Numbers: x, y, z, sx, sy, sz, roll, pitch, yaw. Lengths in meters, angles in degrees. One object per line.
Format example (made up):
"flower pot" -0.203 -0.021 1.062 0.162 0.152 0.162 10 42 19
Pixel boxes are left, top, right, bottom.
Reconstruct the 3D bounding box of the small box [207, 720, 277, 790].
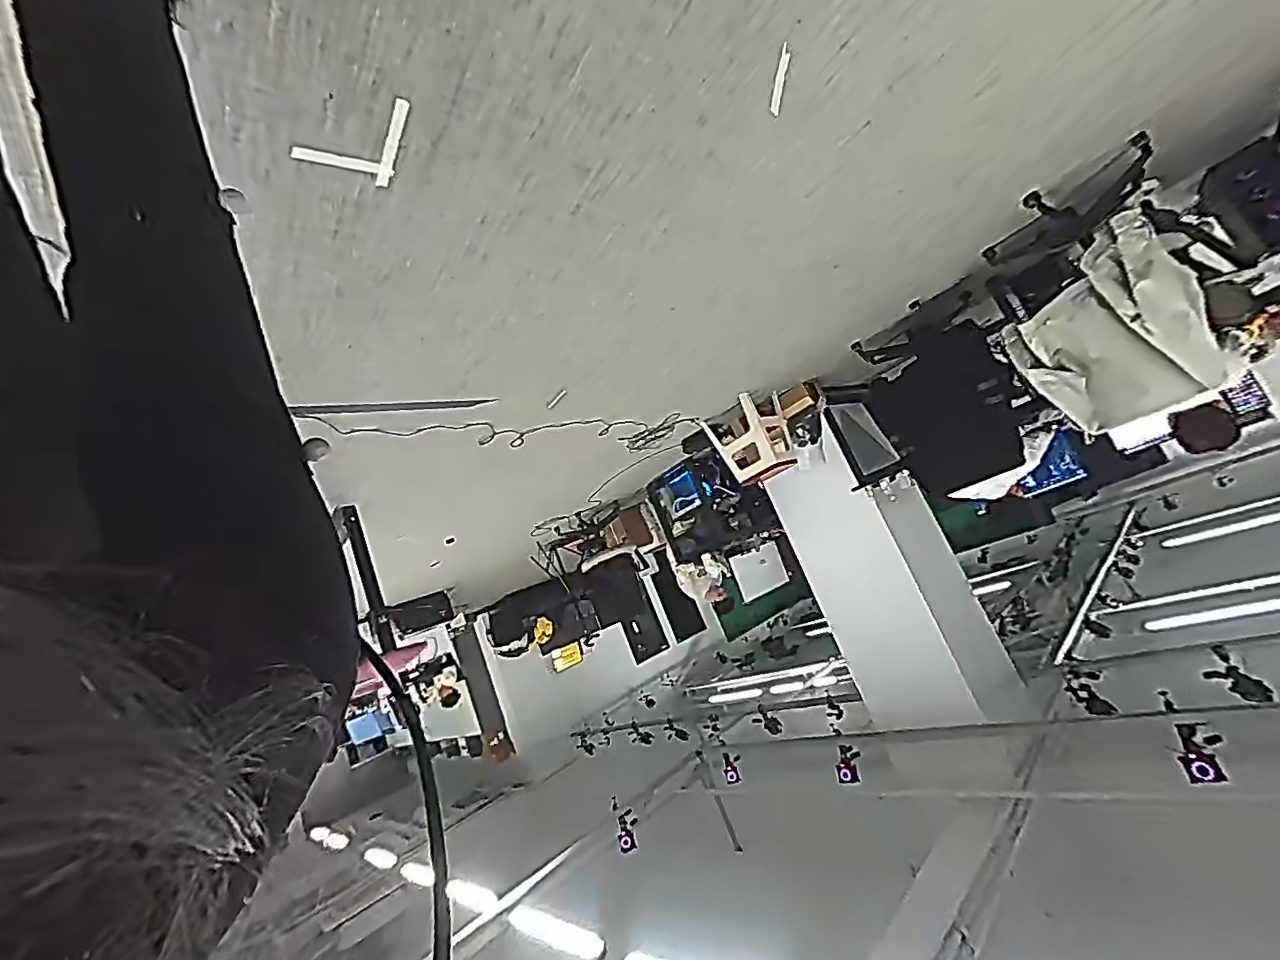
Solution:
"small box" -1.451 0.995 1.971 0.179 0.176 0.168 -15 166 -32
